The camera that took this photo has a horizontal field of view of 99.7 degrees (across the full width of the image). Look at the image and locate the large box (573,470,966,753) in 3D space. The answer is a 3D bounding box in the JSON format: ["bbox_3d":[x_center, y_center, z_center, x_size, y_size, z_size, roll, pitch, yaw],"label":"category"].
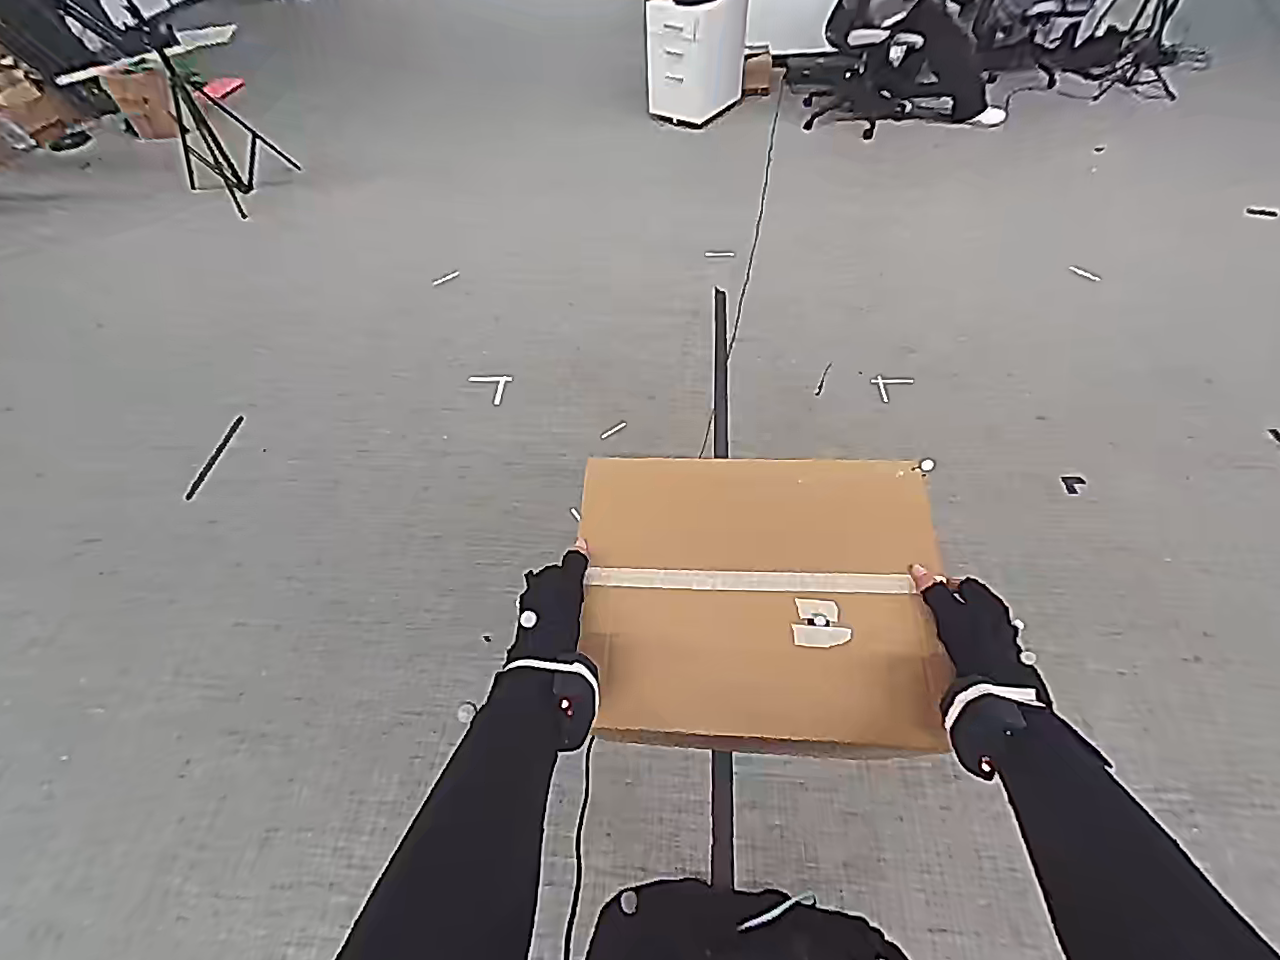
[{"bbox_3d":[0.142,0.194,0.747,0.408,0.320,0.320,1,62,6],"label":"large box"}]
